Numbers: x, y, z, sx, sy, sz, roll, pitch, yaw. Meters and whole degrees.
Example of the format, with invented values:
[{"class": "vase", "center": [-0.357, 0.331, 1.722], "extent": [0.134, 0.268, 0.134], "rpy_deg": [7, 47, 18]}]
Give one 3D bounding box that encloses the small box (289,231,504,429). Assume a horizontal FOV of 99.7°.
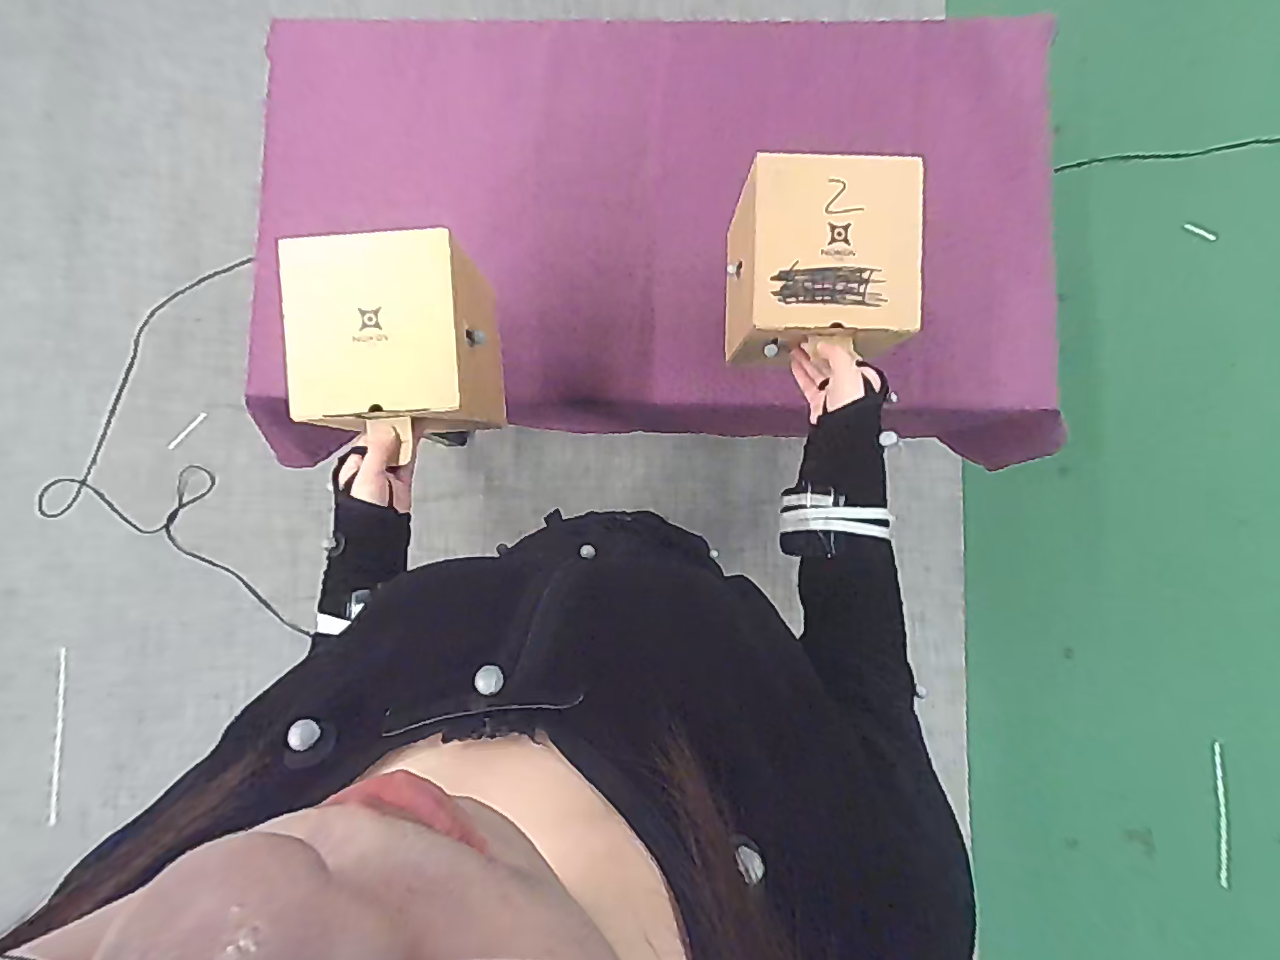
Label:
[{"class": "small box", "center": [-0.259, -0.156, 0.611], "extent": [0.168, 0.176, 0.179], "rpy_deg": [-4, 91, 1]}]
